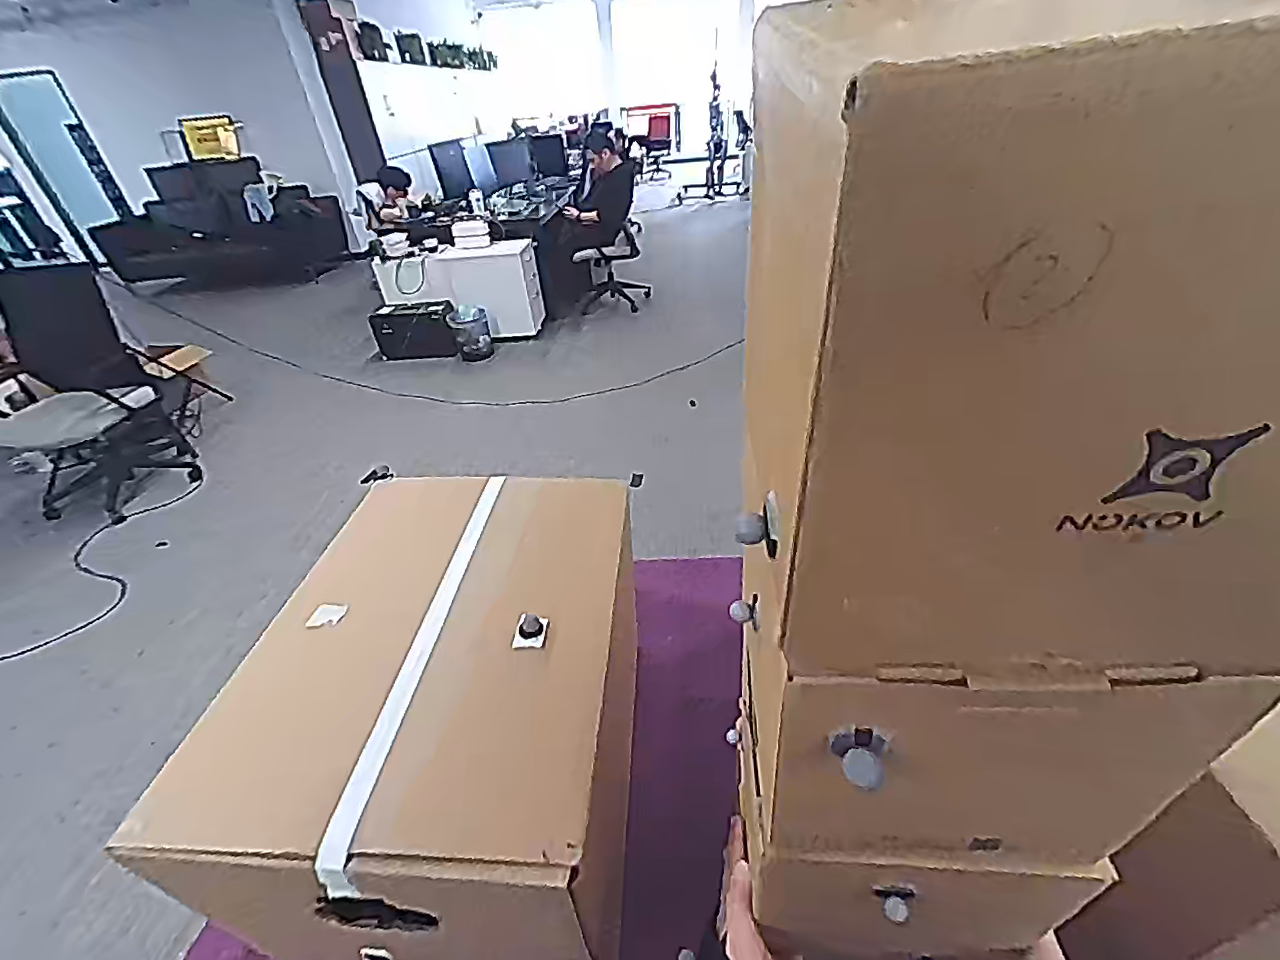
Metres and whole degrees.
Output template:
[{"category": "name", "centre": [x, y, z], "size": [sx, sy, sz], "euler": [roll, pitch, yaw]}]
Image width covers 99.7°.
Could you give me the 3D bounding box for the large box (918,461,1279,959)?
[{"category": "large box", "centre": [0.527, 0.222, 0.524], "size": [0.320, 0.320, 0.408], "euler": [-2, 34, 4]}]
